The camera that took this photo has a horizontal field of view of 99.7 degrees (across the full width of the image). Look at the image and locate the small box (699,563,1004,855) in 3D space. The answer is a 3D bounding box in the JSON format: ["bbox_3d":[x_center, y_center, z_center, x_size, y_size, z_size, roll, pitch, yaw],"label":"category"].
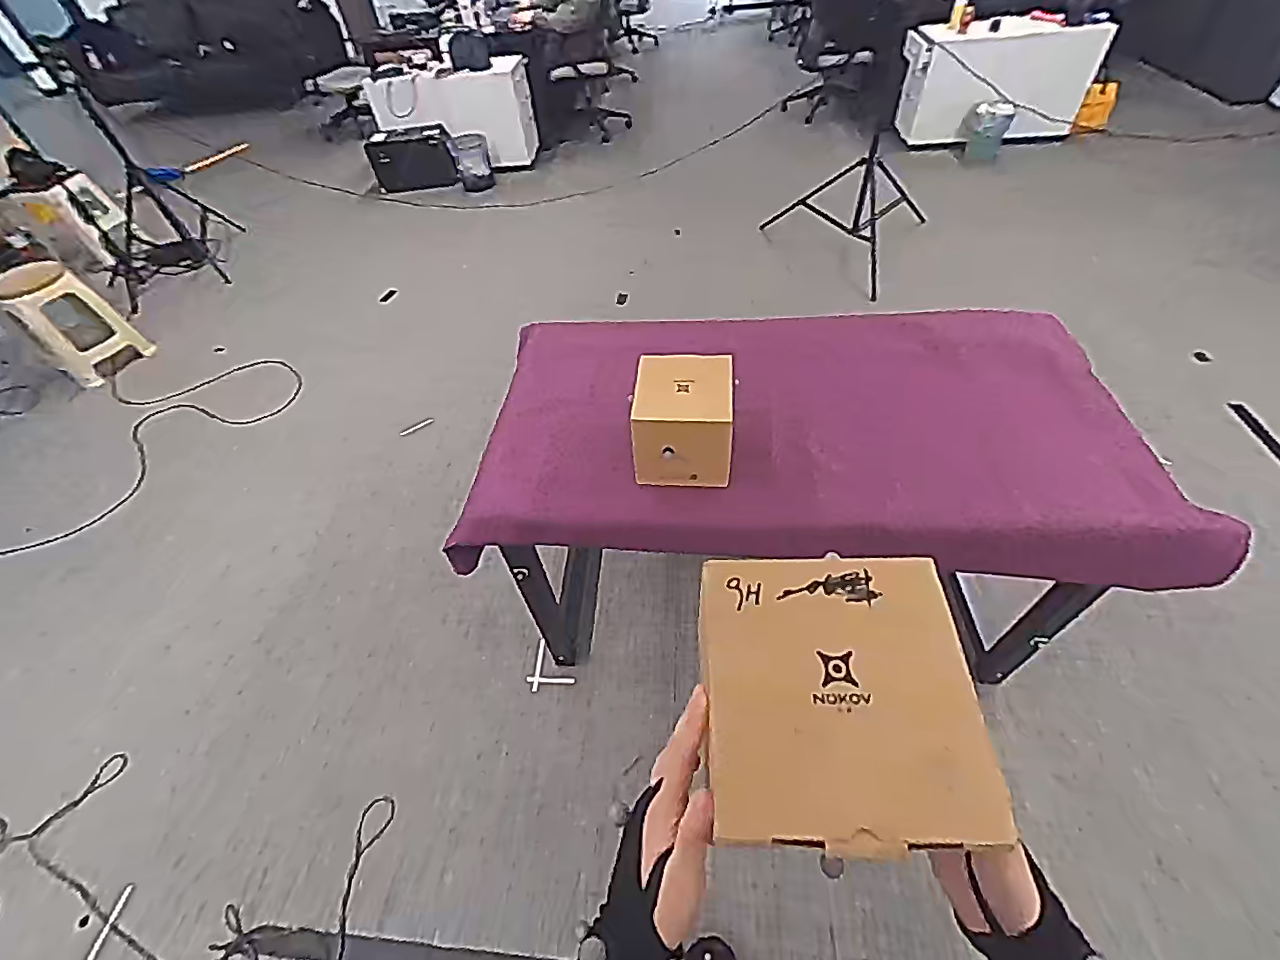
[{"bbox_3d":[0.132,0.178,0.418,0.168,0.176,0.179,-1,57,4],"label":"small box"}]

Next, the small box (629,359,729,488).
[{"bbox_3d":[0.077,-0.100,0.983,0.168,0.176,0.179,1,49,6],"label":"small box"}]
